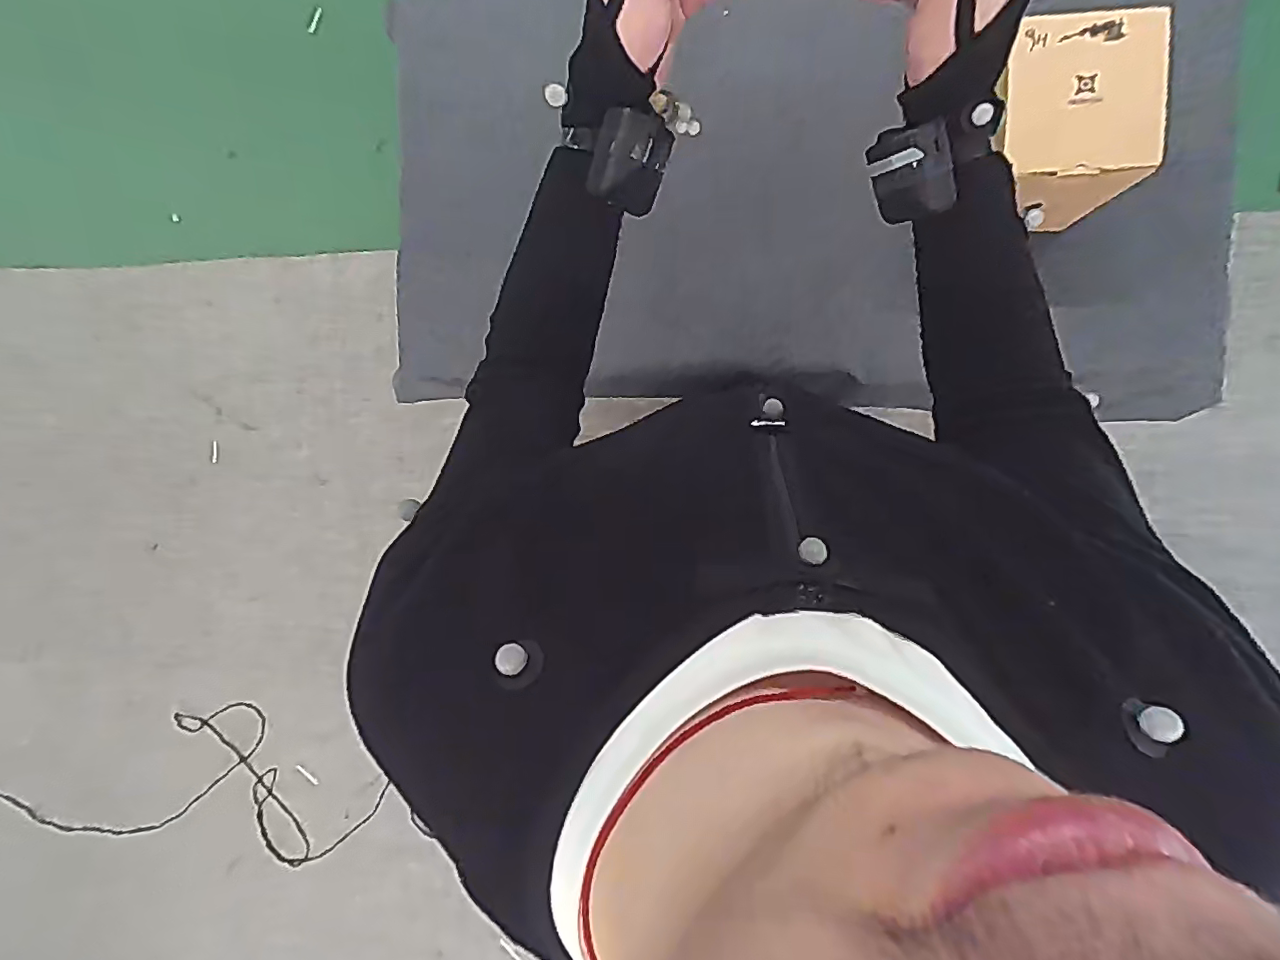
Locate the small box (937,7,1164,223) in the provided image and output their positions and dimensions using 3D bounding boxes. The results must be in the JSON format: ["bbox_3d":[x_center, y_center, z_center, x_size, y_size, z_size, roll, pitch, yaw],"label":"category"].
[{"bbox_3d":[0.500,-0.442,0.688,0.168,0.176,0.179,1,95,6],"label":"small box"}]
